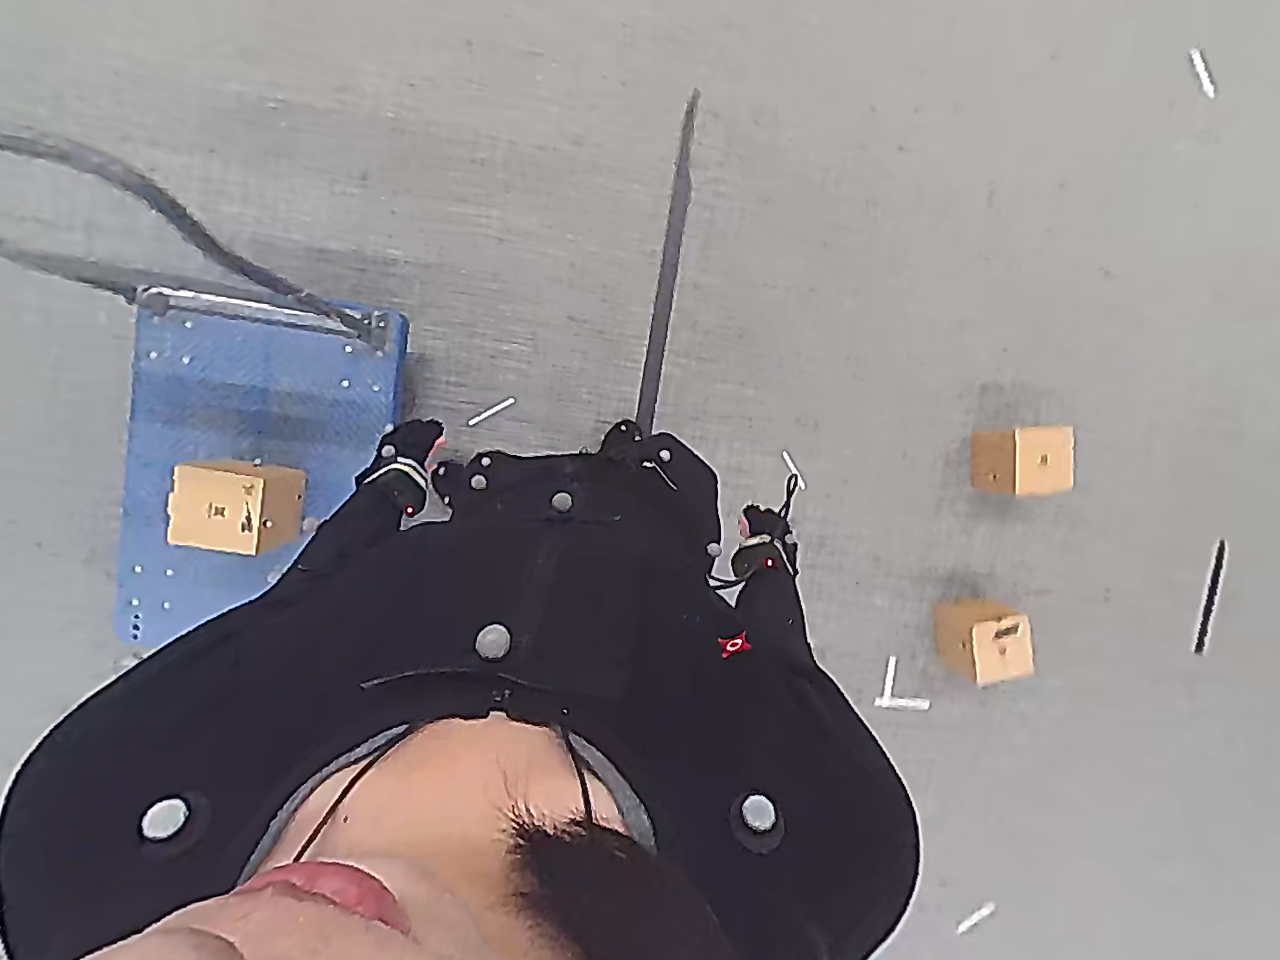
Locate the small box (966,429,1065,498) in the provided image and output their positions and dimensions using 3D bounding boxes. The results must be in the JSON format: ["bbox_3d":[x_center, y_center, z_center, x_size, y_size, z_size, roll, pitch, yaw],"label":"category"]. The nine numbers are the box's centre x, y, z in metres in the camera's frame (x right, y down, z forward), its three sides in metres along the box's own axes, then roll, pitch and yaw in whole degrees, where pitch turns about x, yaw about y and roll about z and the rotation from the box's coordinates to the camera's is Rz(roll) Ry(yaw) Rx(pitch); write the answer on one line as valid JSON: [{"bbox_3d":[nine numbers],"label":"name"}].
[{"bbox_3d":[1.046,-0.052,1.517,0.168,0.176,0.179,-6,95,-5],"label":"small box"}]

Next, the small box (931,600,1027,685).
[{"bbox_3d":[0.970,0.458,1.559,0.168,0.176,0.179,-11,97,-3],"label":"small box"}]

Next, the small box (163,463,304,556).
[{"bbox_3d":[-0.880,0.058,1.184,0.179,0.176,0.168,10,95,-5],"label":"small box"}]
